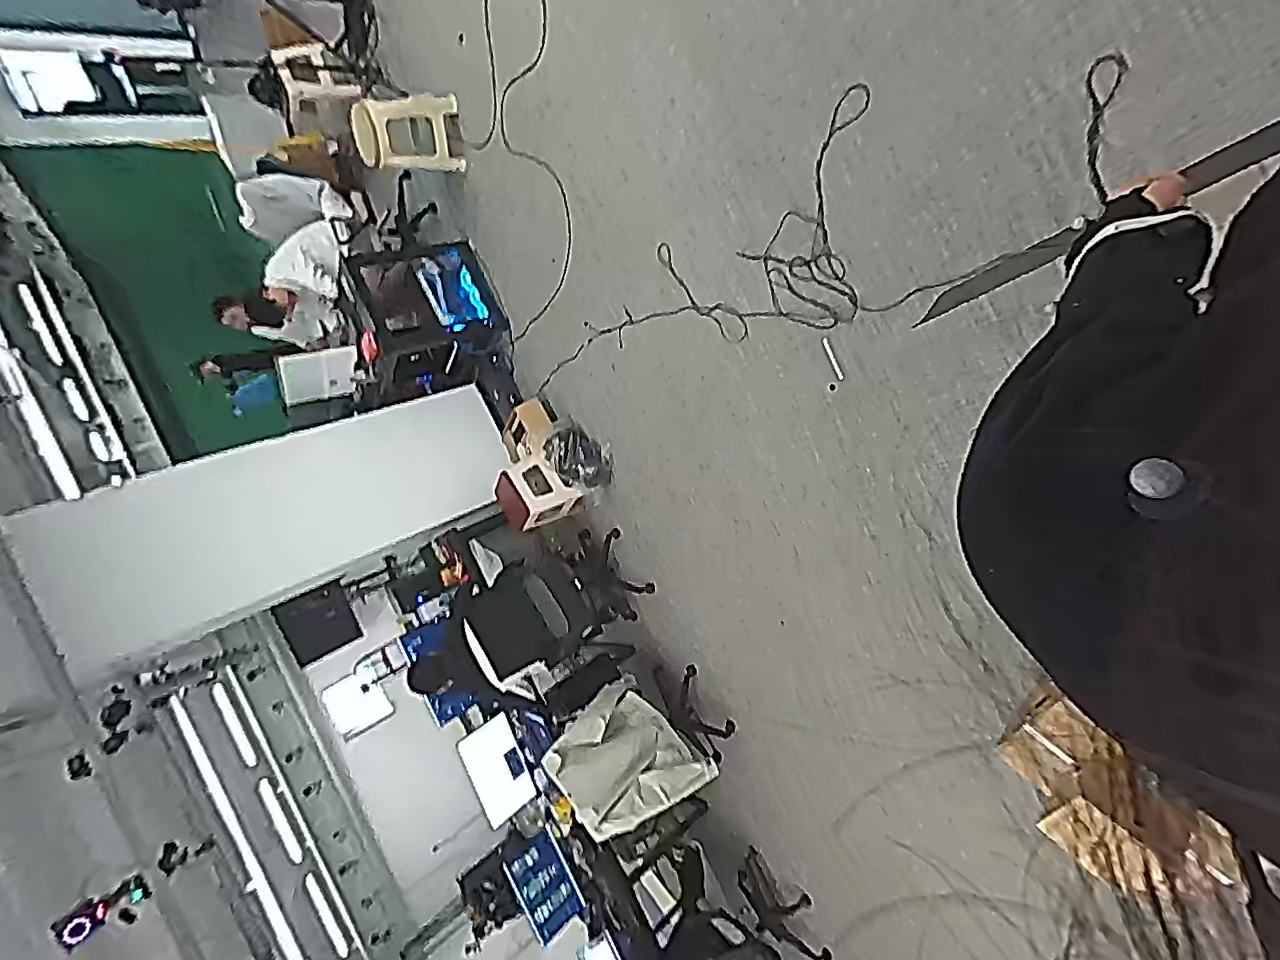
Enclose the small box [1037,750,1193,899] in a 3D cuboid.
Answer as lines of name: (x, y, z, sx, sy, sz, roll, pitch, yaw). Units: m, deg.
small box: (1.002, 0.720, 1.142, 0.179, 0.176, 0.168, 40, 139, 35)
